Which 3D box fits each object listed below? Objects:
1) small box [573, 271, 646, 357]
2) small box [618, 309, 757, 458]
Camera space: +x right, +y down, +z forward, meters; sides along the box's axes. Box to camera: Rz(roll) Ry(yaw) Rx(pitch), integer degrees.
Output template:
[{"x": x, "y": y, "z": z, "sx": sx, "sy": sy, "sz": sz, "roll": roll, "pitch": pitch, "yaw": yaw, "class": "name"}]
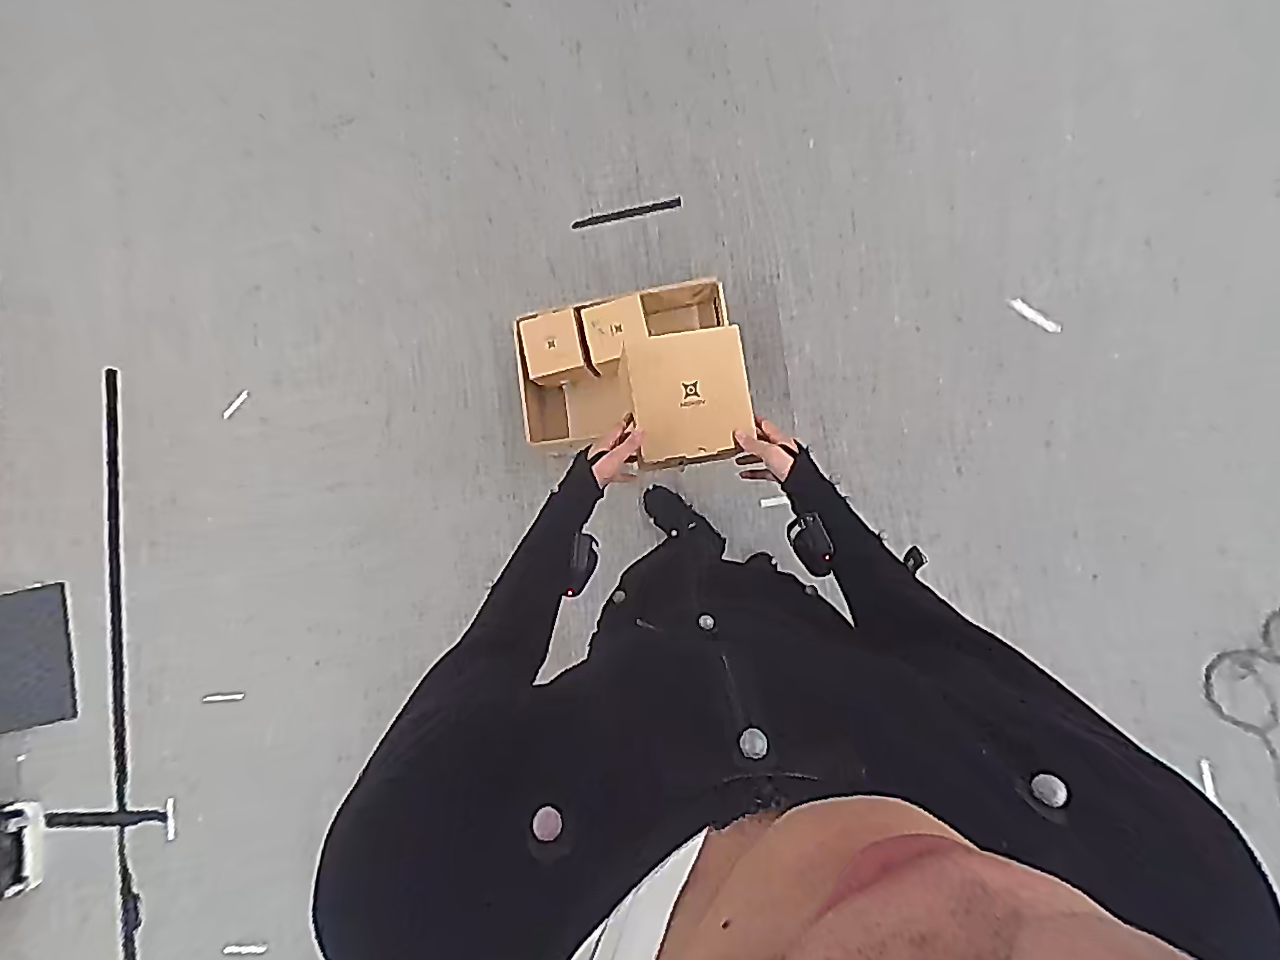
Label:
[{"x": -0.076, "y": -0.475, "z": 1.572, "sx": 0.179, "sy": 0.176, "sz": 0.168, "roll": -16, "pitch": 86, "yaw": 8, "class": "small box"}, {"x": 0.060, "y": -0.135, "z": 0.812, "sx": 0.168, "sy": 0.176, "sz": 0.179, "roll": -10, "pitch": 89, "yaw": -4, "class": "small box"}]
